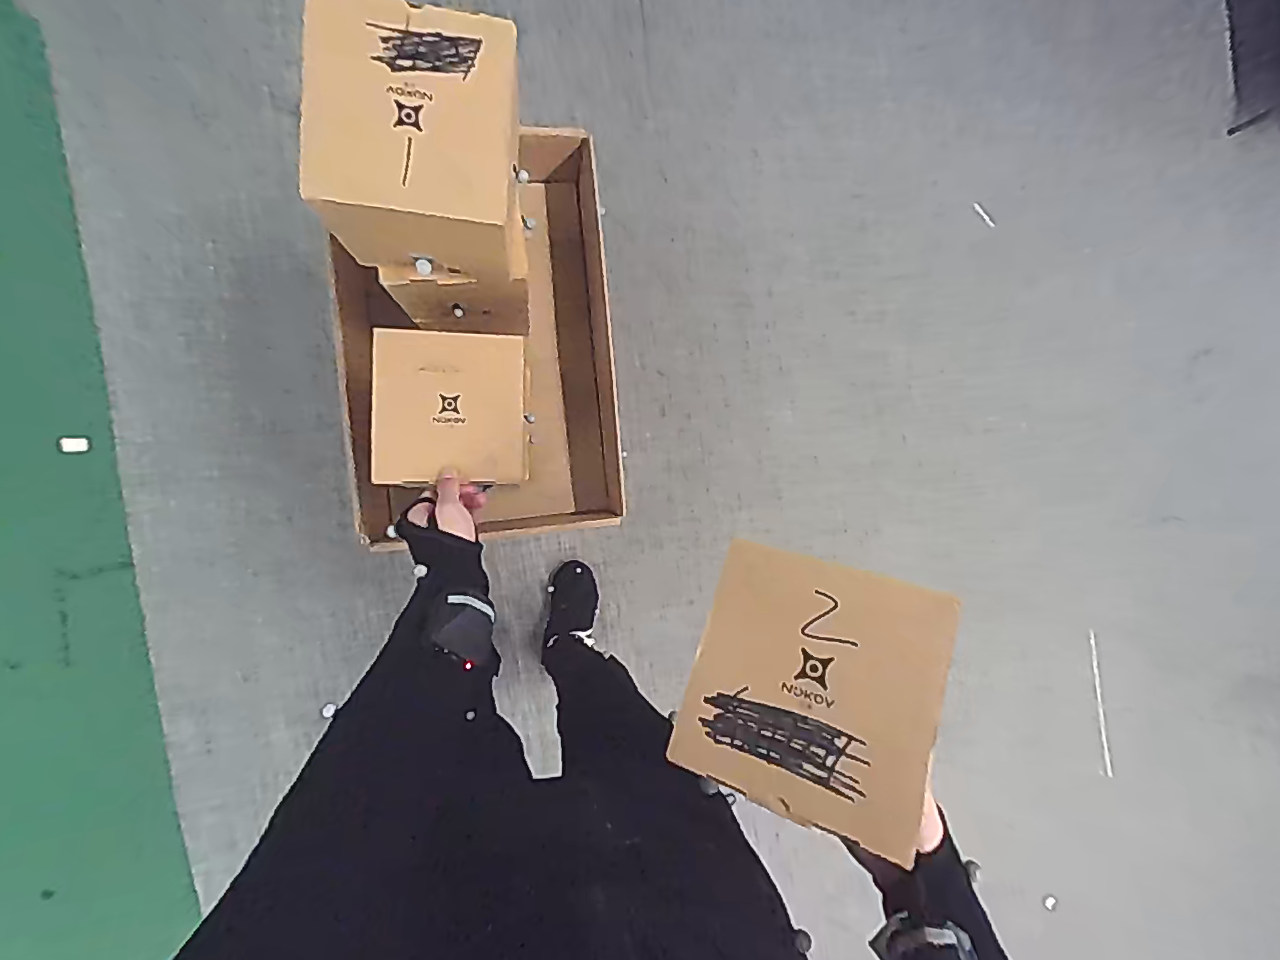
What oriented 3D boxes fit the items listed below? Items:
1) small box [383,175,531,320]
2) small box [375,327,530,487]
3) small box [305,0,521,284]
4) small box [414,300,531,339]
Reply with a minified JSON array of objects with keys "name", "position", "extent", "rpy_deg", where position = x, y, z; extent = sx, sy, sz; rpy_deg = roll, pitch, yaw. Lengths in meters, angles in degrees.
[{"name":"small box","position":[-0.235,-0.318,0.701],"extent":[0.168,0.176,0.179],"rpy_deg":[-7,94,-12]},{"name":"small box","position":[-0.229,-0.081,0.697],"extent":[0.168,0.176,0.179],"rpy_deg":[1,87,-11]},{"name":"small box","position":[-0.207,-0.318,0.538],"extent":[0.168,0.176,0.179],"rpy_deg":[3,92,-11]},{"name":"small box","position":[-0.265,-0.325,0.859],"extent":[0.168,0.176,0.179],"rpy_deg":[-6,93,-10]}]
